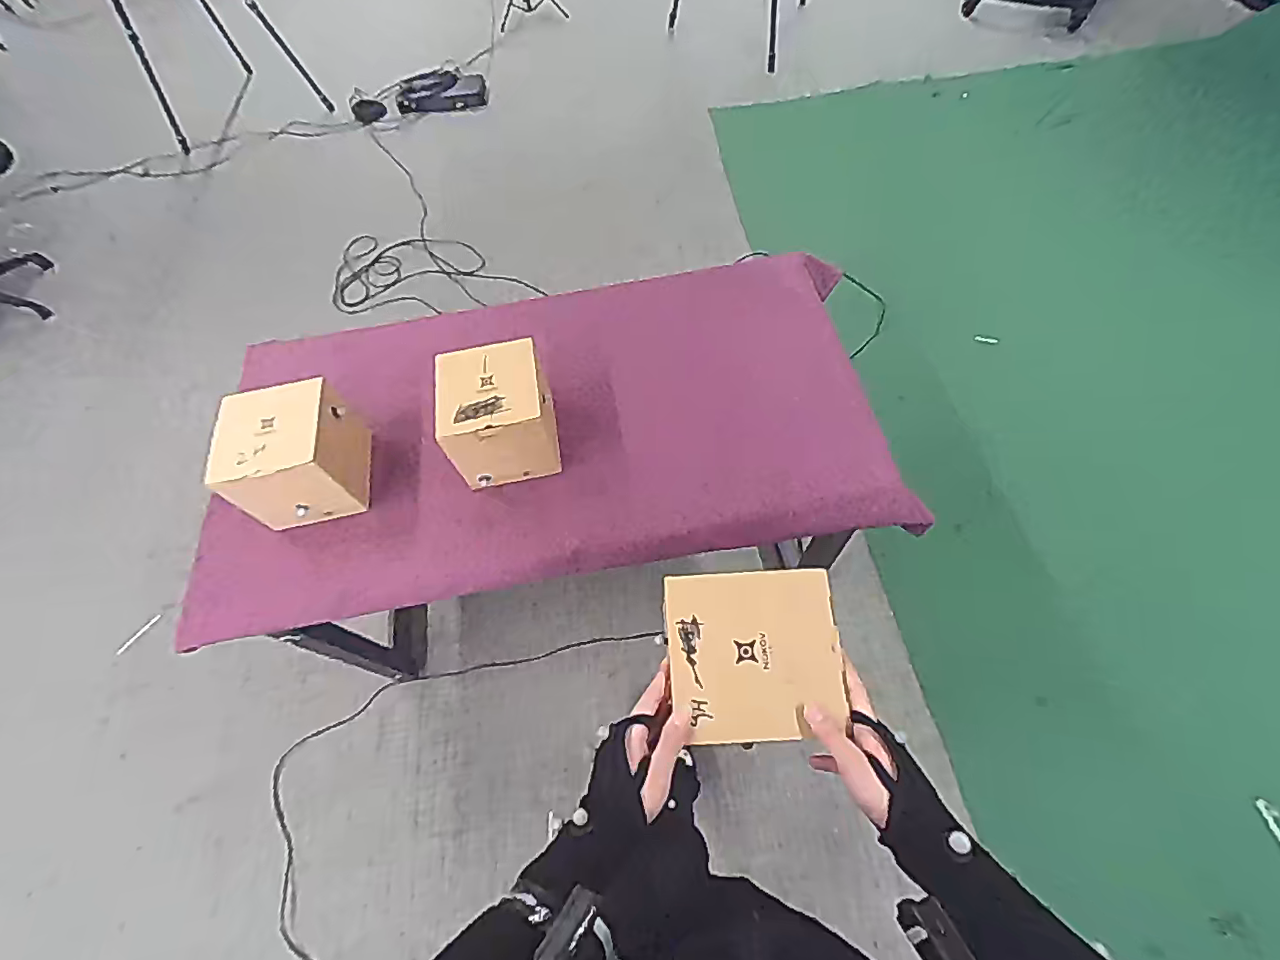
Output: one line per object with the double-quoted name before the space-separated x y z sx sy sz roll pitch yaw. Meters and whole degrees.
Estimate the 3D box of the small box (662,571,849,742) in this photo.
"small box" 0.116 0.203 0.623 0.179 0.176 0.168 -3 68 1

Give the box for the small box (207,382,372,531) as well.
"small box" -0.580 -0.036 0.924 0.168 0.176 0.179 -12 60 -2

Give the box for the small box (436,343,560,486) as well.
"small box" -0.240 -0.104 0.938 0.168 0.176 0.179 -11 60 -2
